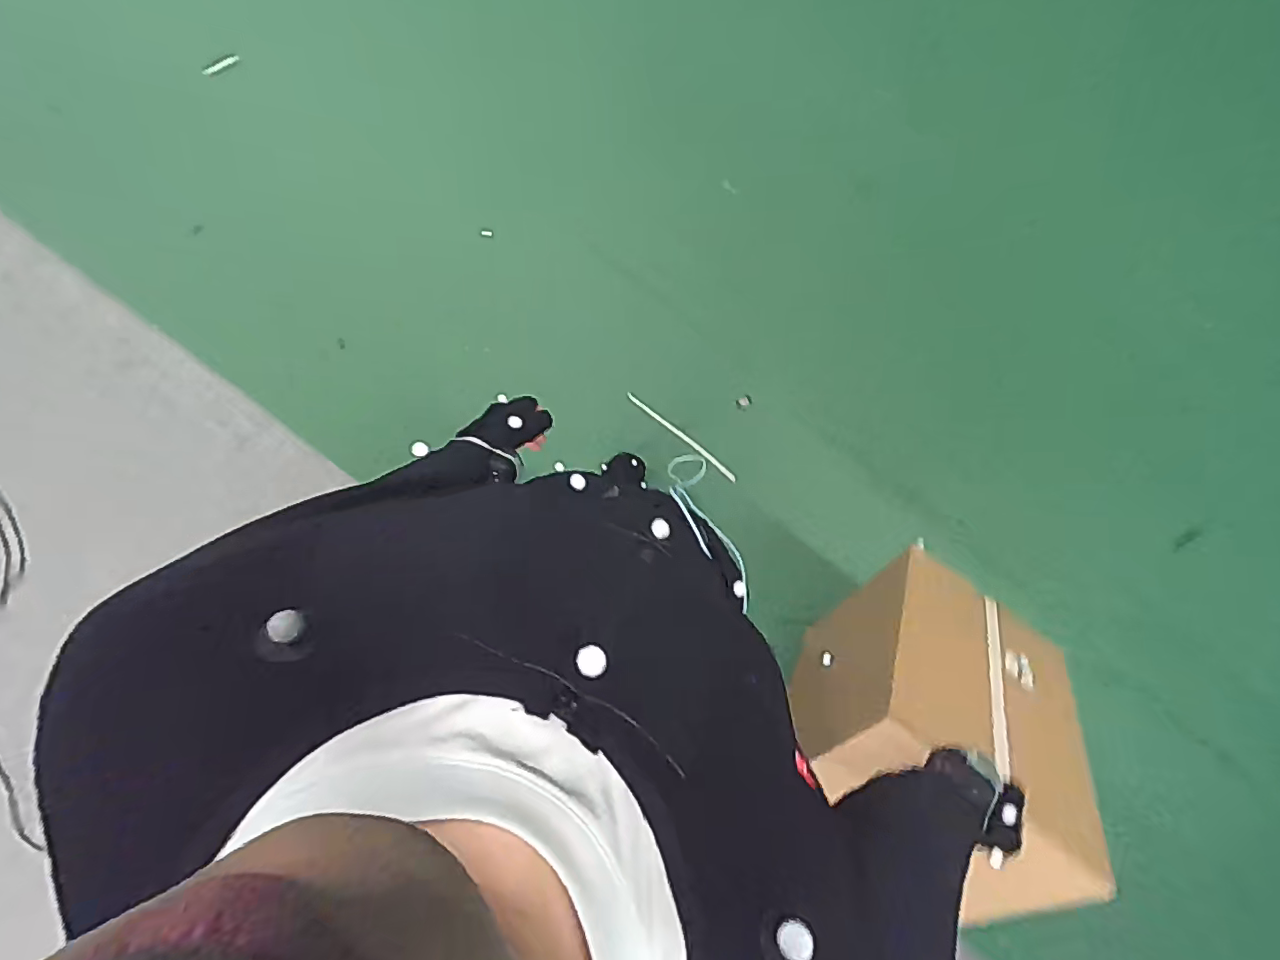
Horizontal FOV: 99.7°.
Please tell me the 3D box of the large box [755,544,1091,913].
[{"bbox_3d":[0.445,0.392,0.906,0.320,0.408,0.320,39,128,7],"label":"large box"}]
